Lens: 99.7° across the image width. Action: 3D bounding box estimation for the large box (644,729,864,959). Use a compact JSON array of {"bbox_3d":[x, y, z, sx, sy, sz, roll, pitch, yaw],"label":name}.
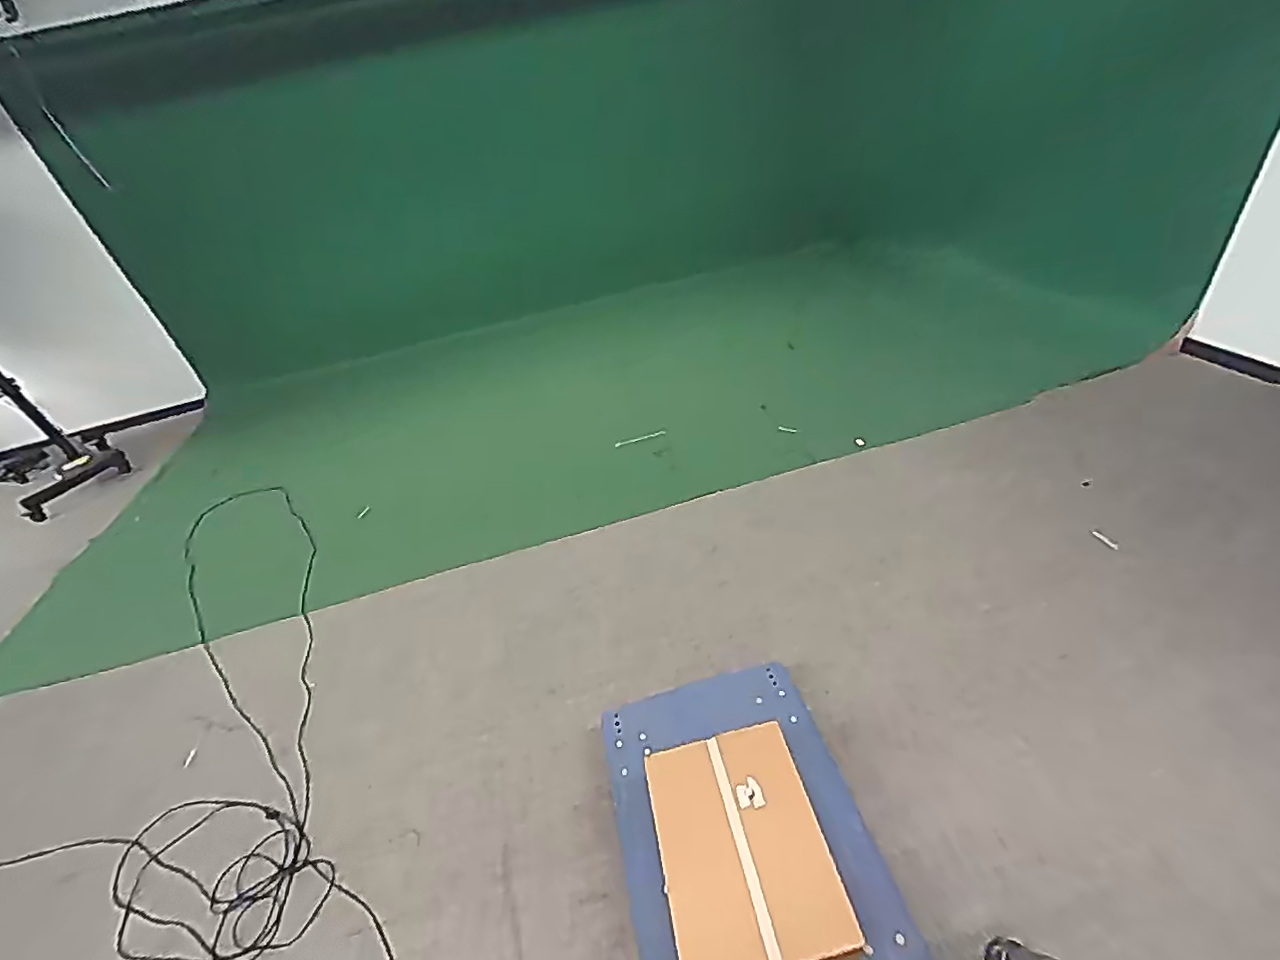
[{"bbox_3d":[0.220,0.824,1.133,0.320,0.320,0.408,-14,35,-2],"label":"large box"}]
